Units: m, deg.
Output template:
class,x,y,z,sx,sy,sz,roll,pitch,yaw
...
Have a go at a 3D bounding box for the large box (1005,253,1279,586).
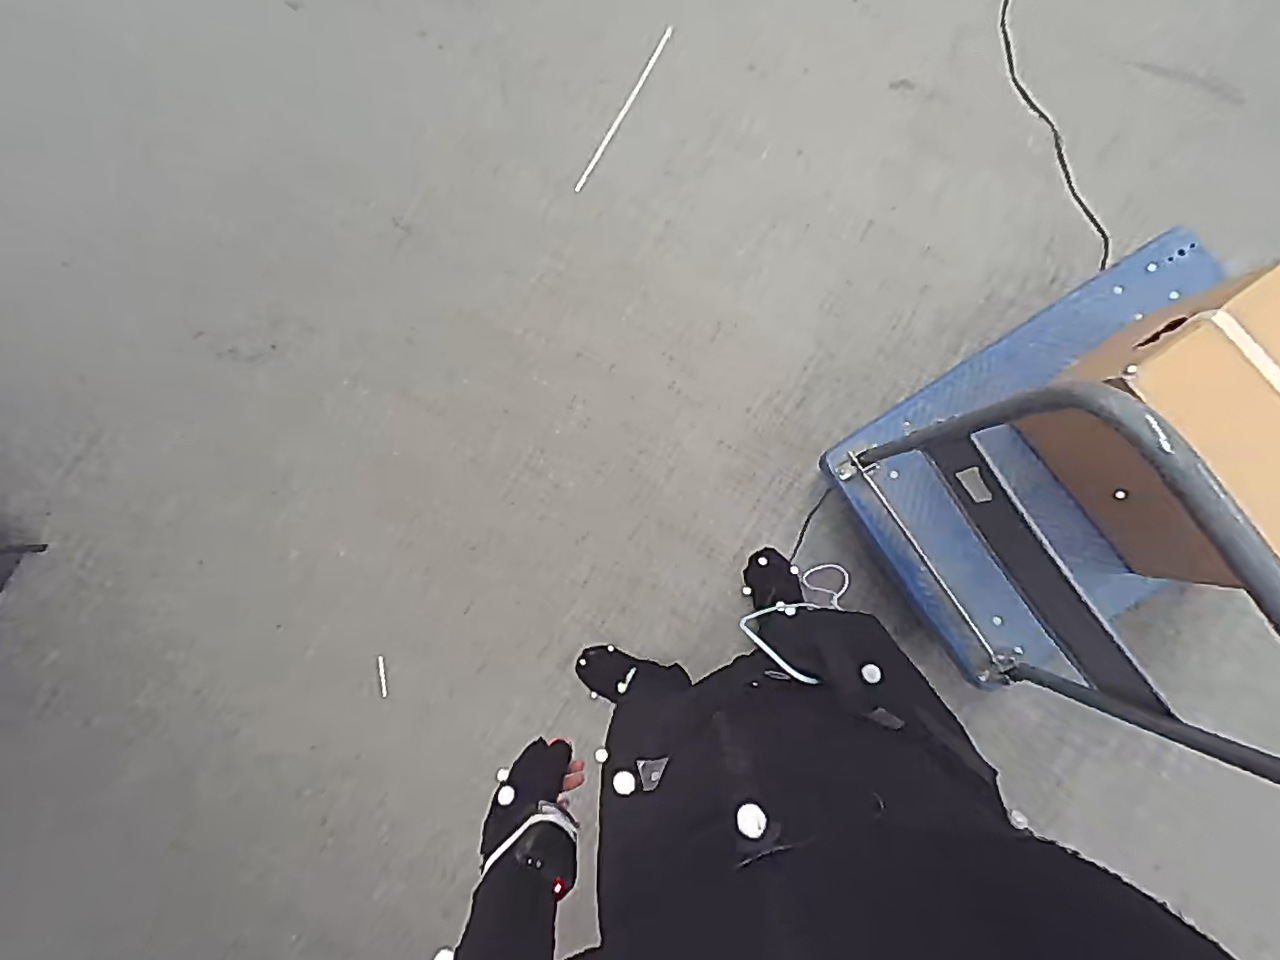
class,x,y,z,sx,sy,sz,roll,pitch,yaw
large box,0.959,-0.081,0.923,0.320,0.320,0.408,-37,84,1
